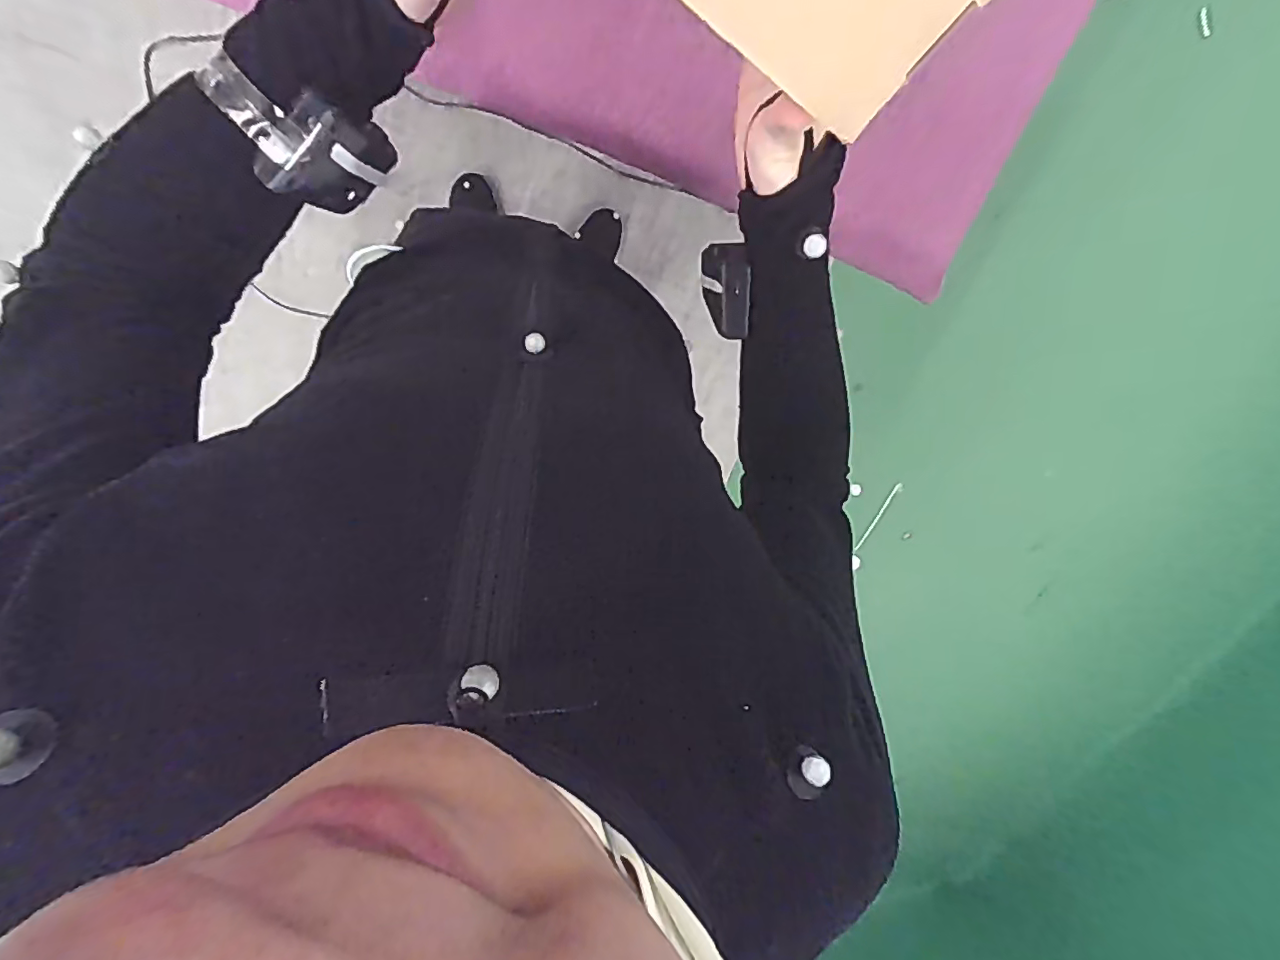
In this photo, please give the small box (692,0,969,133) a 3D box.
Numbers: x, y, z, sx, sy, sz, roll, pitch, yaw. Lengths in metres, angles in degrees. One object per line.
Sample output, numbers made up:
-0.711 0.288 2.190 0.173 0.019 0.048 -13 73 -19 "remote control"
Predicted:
0.065 -0.286 0.196 0.179 0.176 0.168 19 140 -29 "small box"
